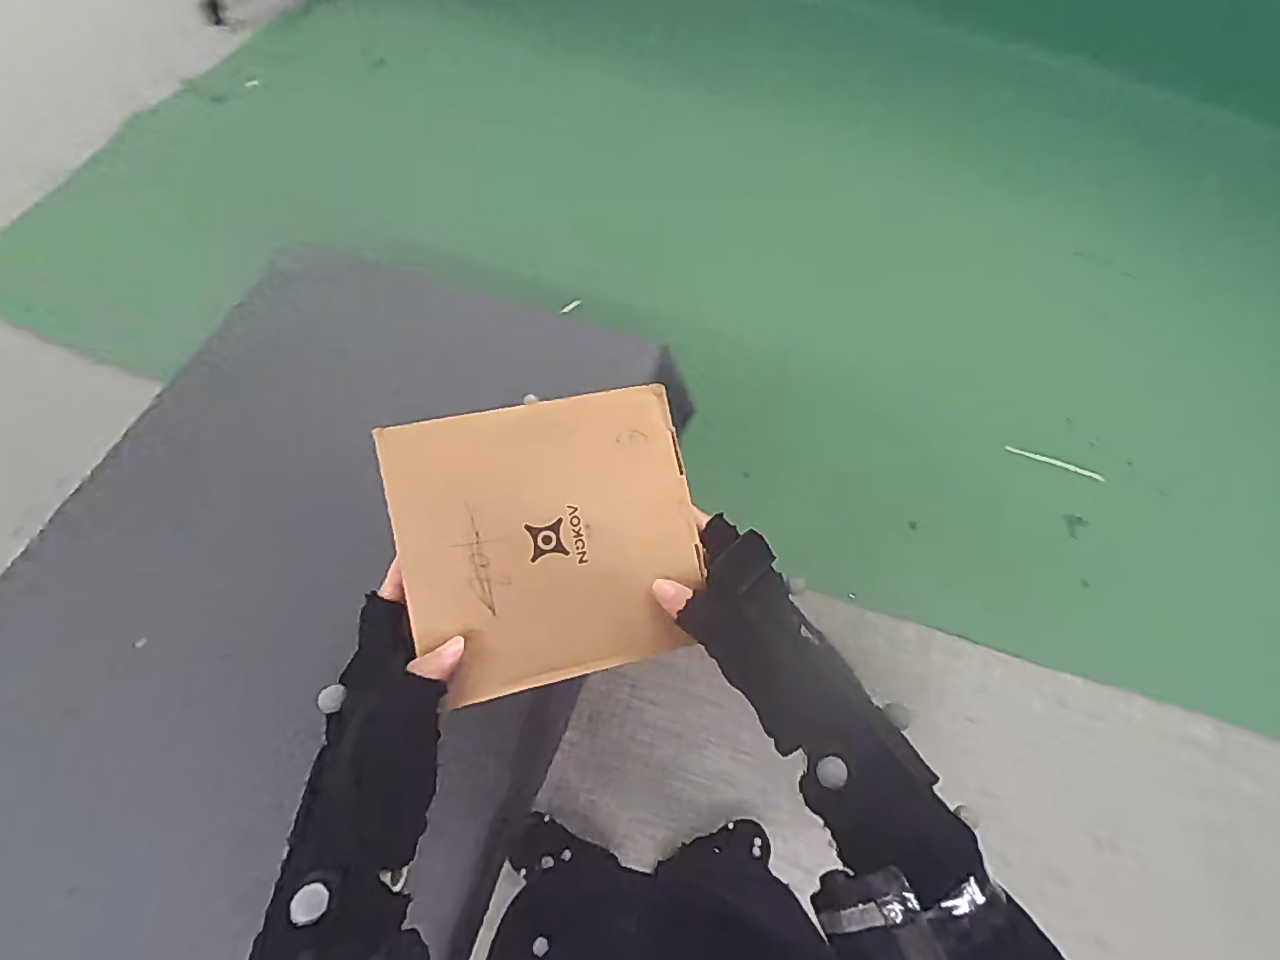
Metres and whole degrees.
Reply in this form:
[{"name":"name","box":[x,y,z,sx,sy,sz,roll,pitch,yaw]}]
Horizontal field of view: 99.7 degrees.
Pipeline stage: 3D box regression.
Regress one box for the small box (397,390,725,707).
[{"name":"small box","box":[-0.057,0.042,0.405,0.179,0.176,0.168,-11,87,-9]}]
